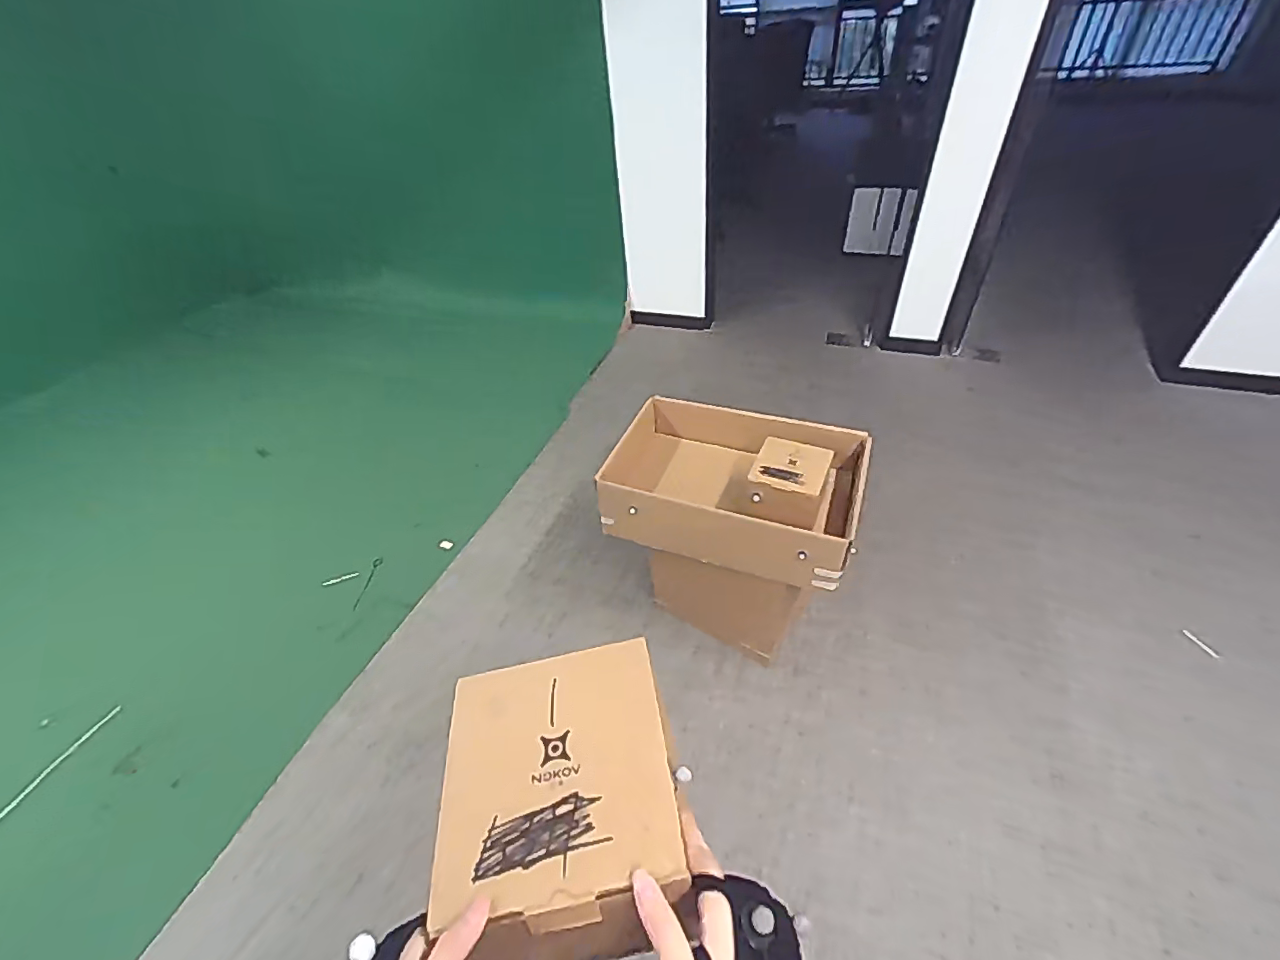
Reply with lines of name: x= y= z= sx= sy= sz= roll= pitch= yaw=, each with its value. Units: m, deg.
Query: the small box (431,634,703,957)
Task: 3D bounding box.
small box: x=-0.050 y=0.265 z=0.451 sx=0.168 sy=0.176 sz=0.179 roll=-13 pitch=39 yaw=0
